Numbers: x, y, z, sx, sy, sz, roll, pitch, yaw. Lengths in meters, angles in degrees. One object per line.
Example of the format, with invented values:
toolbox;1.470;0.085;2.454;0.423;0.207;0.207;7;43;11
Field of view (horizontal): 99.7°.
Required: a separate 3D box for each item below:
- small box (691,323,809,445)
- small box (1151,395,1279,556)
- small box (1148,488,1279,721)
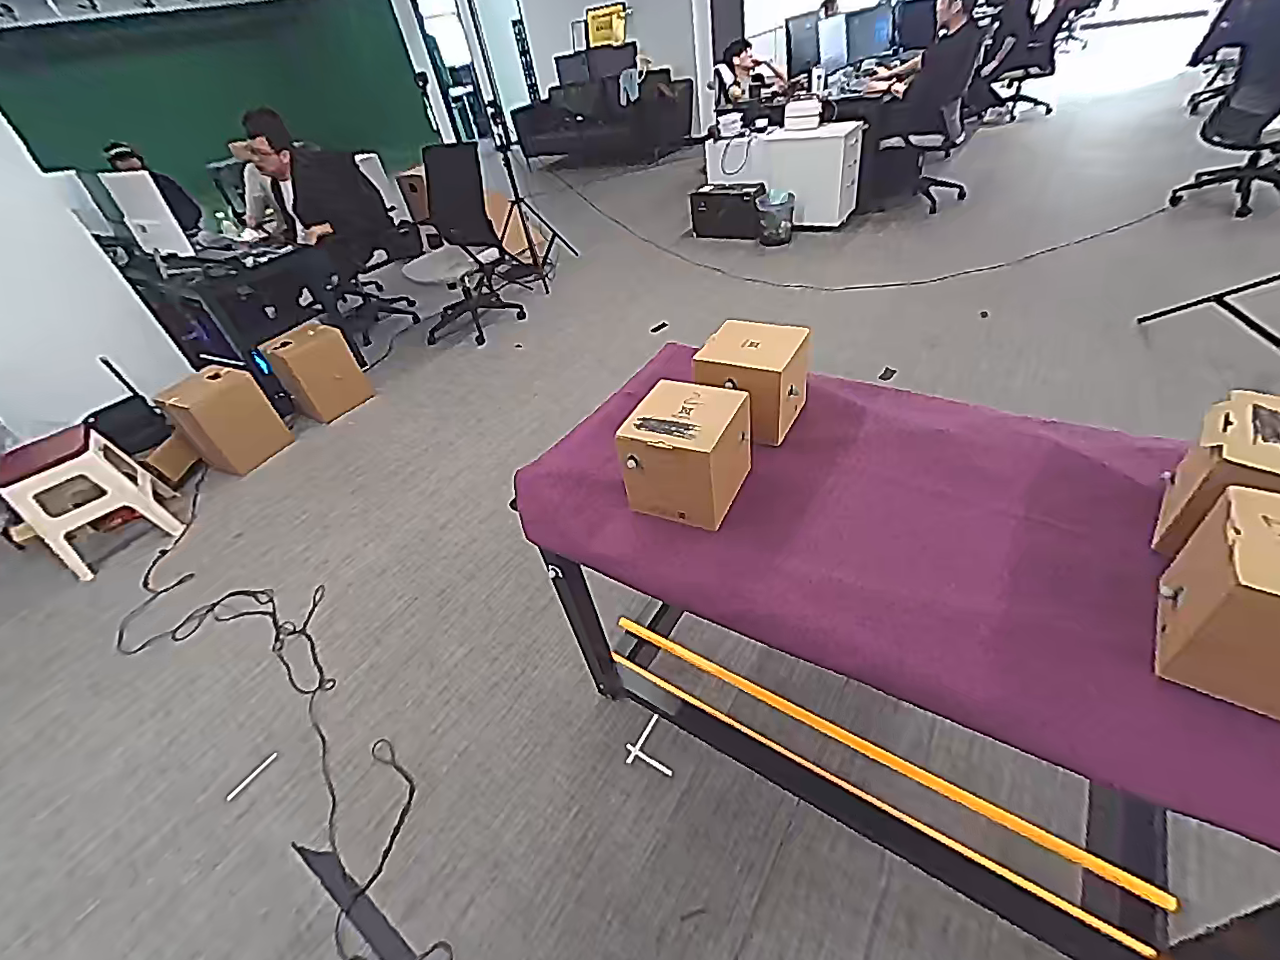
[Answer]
small box;0.220;-0.189;1.069;0.179;0.176;0.168;15;47;28
small box;0.805;0.020;0.689;0.179;0.176;0.168;25;53;33
small box;0.694;0.142;0.574;0.179;0.176;0.168;19;47;32
